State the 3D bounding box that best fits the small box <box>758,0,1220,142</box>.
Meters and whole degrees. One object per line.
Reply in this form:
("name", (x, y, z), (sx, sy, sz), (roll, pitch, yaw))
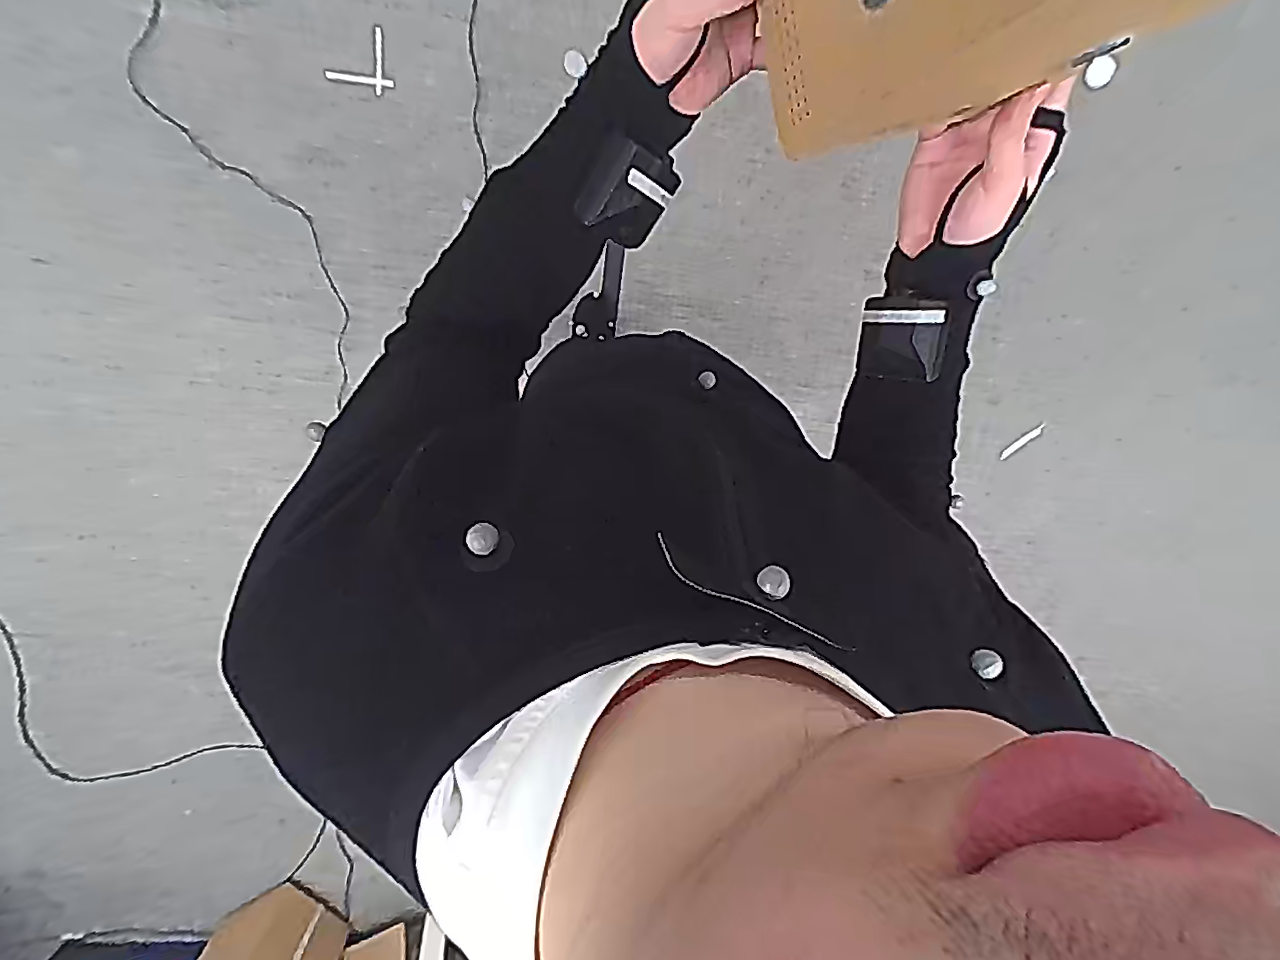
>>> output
("small box", (0.160, -0.275, 0.236), (0.168, 0.176, 0.179), (-21, 107, -13))
